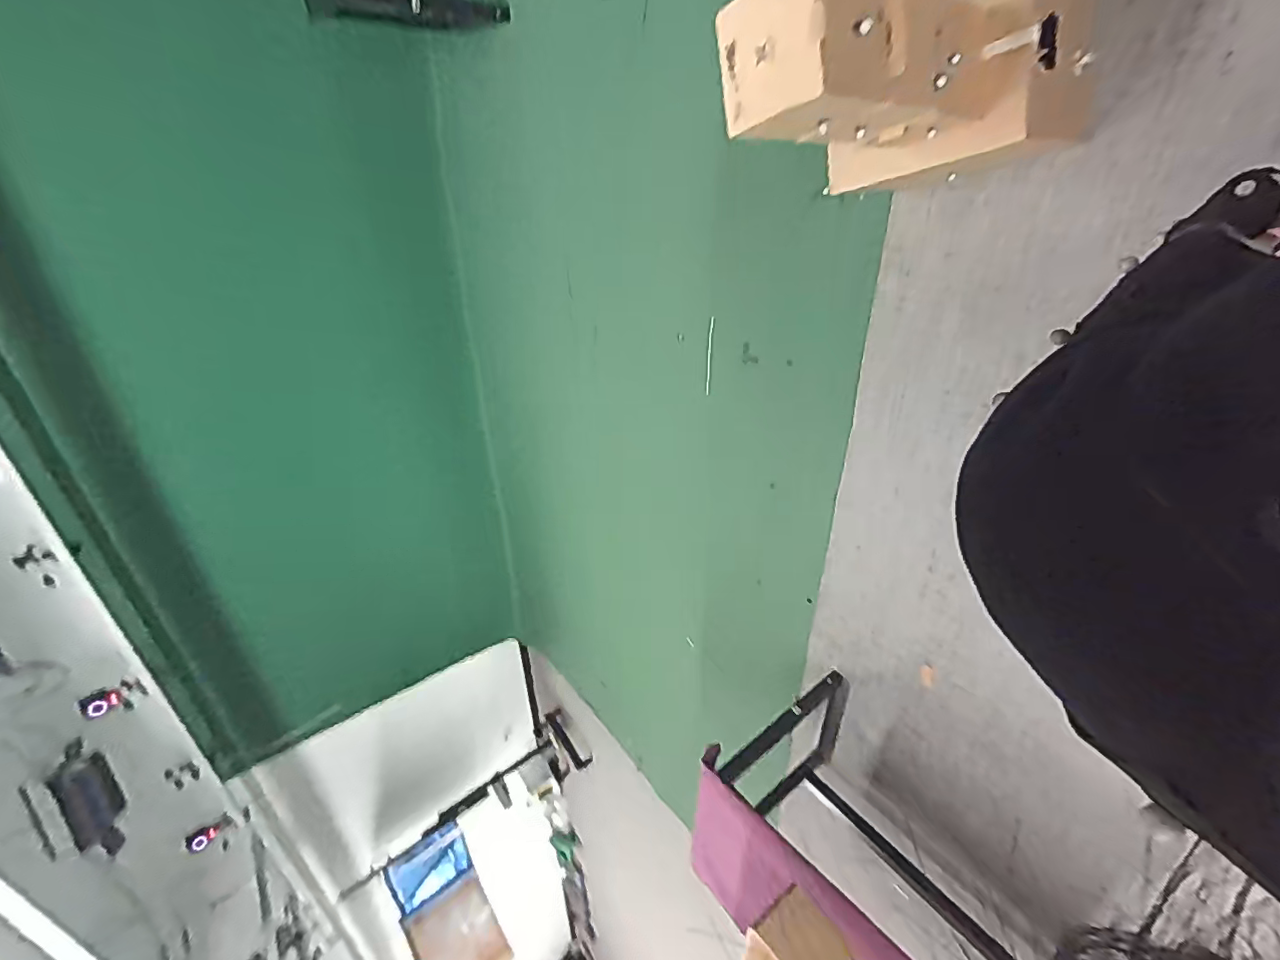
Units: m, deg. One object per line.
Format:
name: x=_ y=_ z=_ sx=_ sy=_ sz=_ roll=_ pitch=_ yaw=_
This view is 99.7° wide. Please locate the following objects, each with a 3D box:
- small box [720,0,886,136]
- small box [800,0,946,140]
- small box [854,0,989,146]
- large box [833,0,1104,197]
small box: x=0.247 y=-0.632 z=0.803 sx=0.179 sy=0.176 sz=0.168 roll=14 pitch=119 yaw=51
small box: x=0.379 y=-0.680 z=0.889 sx=0.179 sy=0.176 sz=0.168 roll=14 pitch=120 yaw=53
small box: x=0.506 y=-0.729 z=0.979 sx=0.168 sy=0.176 sz=0.179 roll=15 pitch=120 yaw=52
large box: x=0.672 y=-0.823 z=1.138 sx=0.408 sy=0.320 sz=0.320 roll=16 pitch=119 yaw=53
